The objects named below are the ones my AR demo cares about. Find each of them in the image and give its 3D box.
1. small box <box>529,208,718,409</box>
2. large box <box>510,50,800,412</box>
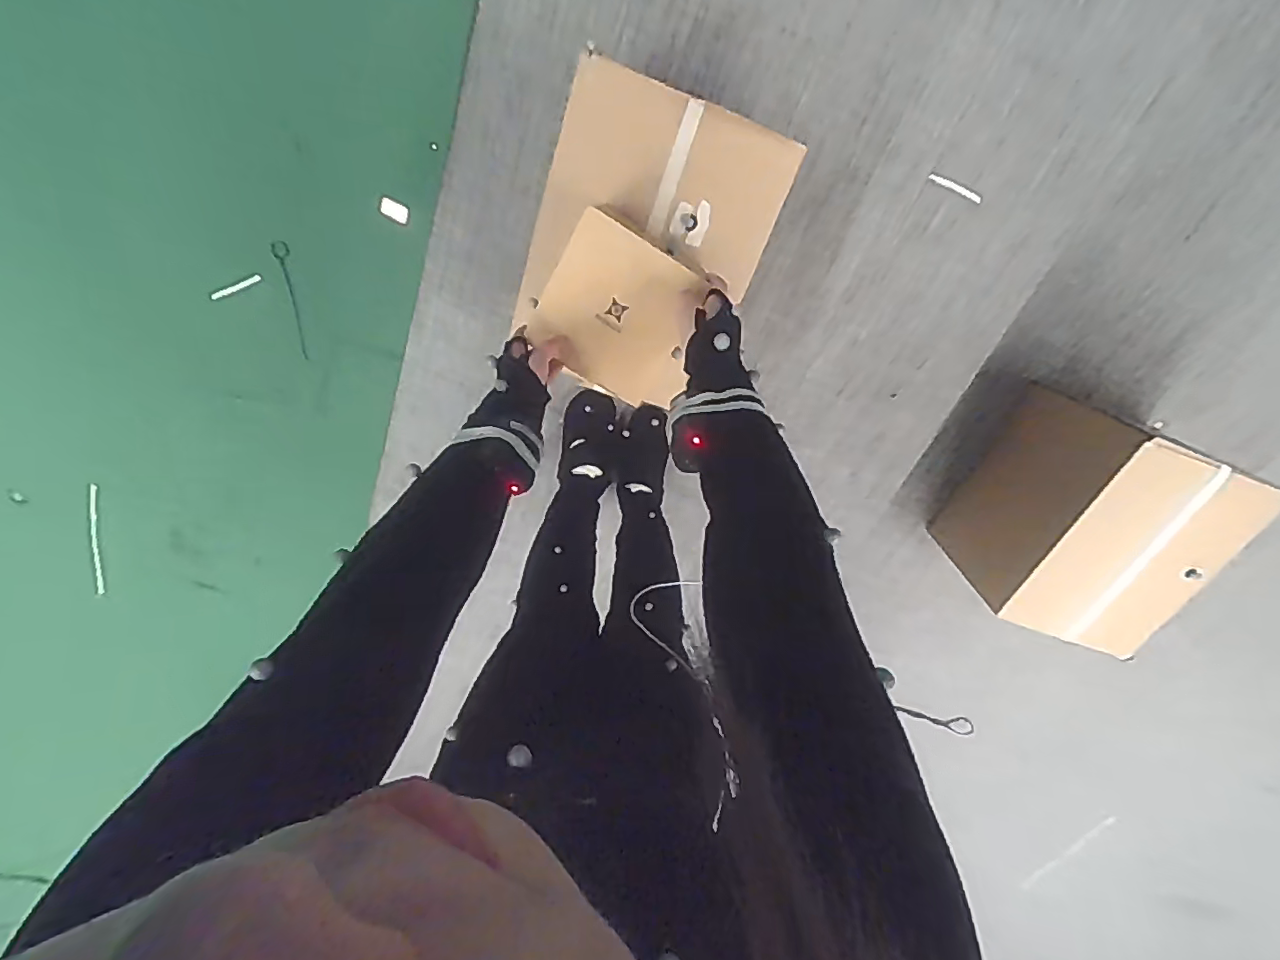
[{"bbox_3d":[-0.021,-0.230,0.704,0.168,0.176,0.179,29,117,-13],"label":"small box"},{"bbox_3d":[0.009,-0.384,0.906,0.320,0.320,0.408,19,115,-8],"label":"large box"}]
